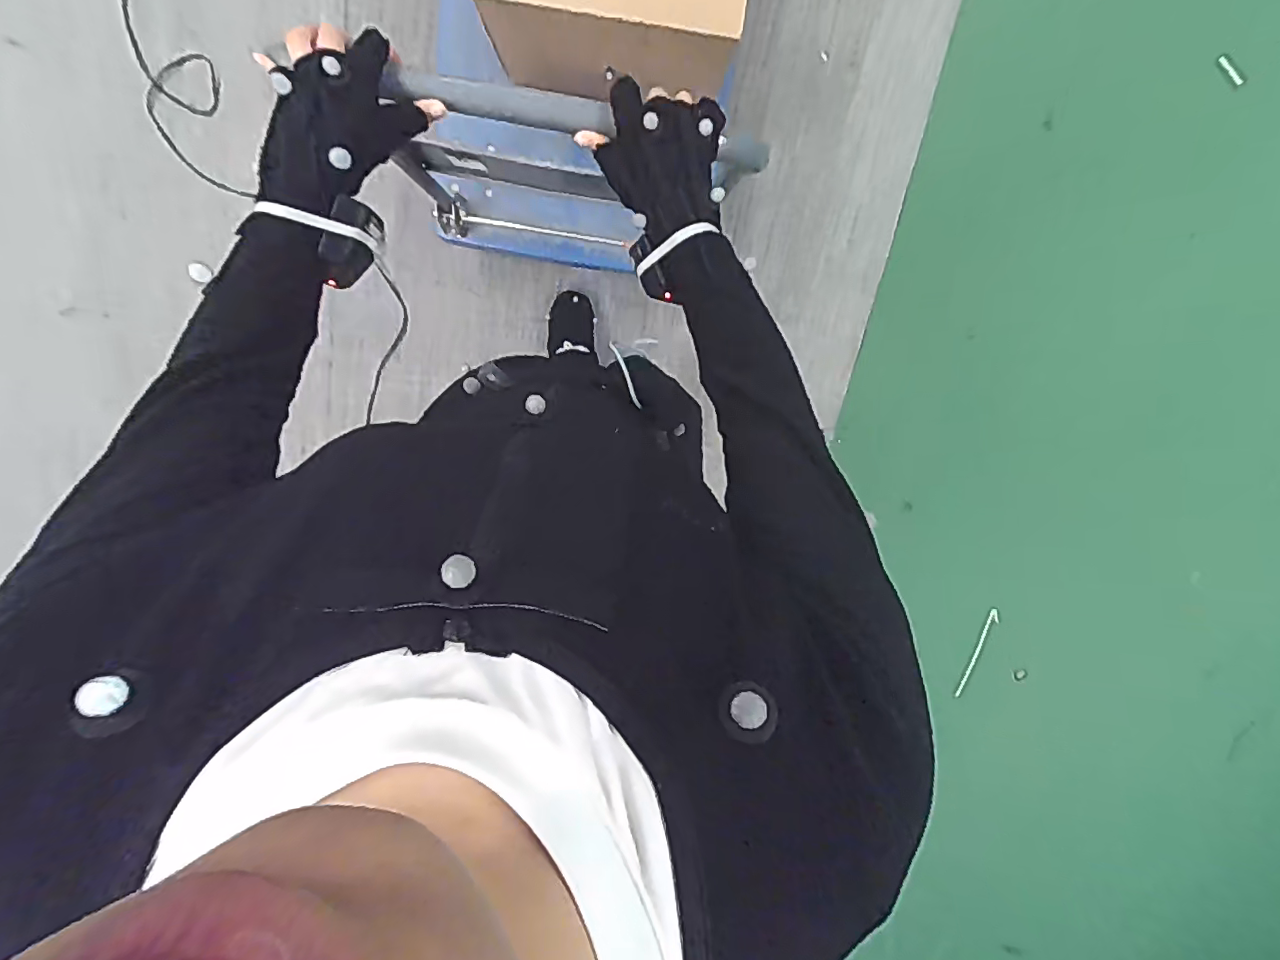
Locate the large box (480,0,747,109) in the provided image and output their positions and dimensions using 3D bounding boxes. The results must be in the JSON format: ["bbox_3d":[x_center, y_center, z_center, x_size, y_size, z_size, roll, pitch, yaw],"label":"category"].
[{"bbox_3d":[-0.026,-0.877,0.912,0.408,0.320,0.320,7,105,-3],"label":"large box"}]
